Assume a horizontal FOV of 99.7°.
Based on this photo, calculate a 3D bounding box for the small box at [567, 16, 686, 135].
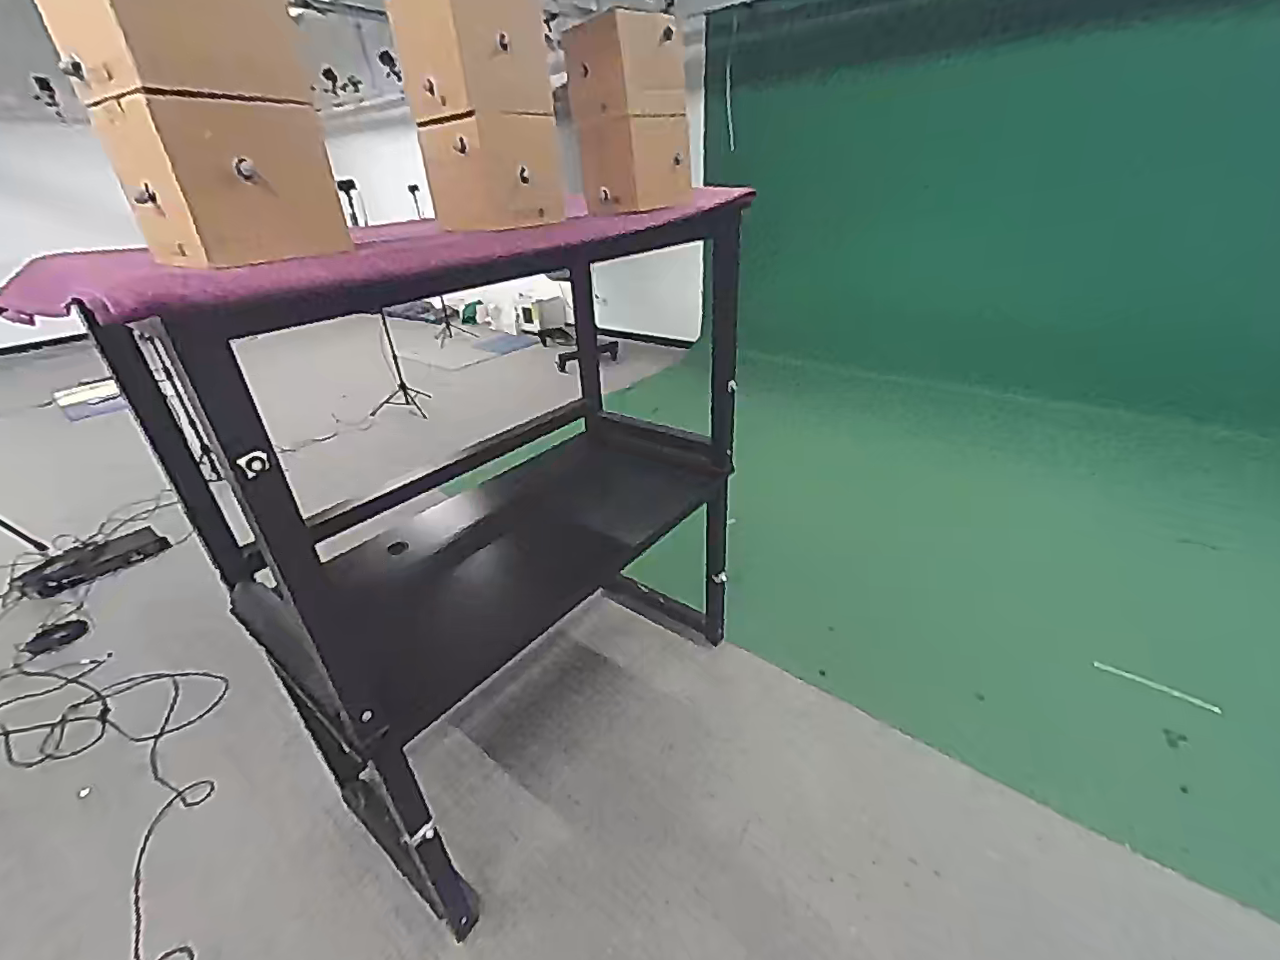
[{"bbox_3d":[-0.020,-0.803,1.098,0.179,0.176,0.168,-27,34,-35],"label":"small box"}]

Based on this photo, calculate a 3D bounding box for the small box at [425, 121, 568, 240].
[{"bbox_3d":[-0.247,-0.530,0.965,0.179,0.176,0.168,19,35,36],"label":"small box"}]

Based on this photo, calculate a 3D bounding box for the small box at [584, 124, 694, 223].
[{"bbox_3d":[0.003,-0.660,1.172,0.168,0.176,0.179,20,39,41],"label":"small box"}]

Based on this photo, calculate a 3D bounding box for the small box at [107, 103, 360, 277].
[{"bbox_3d":[-0.491,-0.356,0.675,0.168,0.176,0.179,17,35,30],"label":"small box"}]

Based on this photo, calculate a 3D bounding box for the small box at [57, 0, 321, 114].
[{"bbox_3d":[-0.498,-0.500,0.596,0.168,0.176,0.179,15,33,28],"label":"small box"}]
